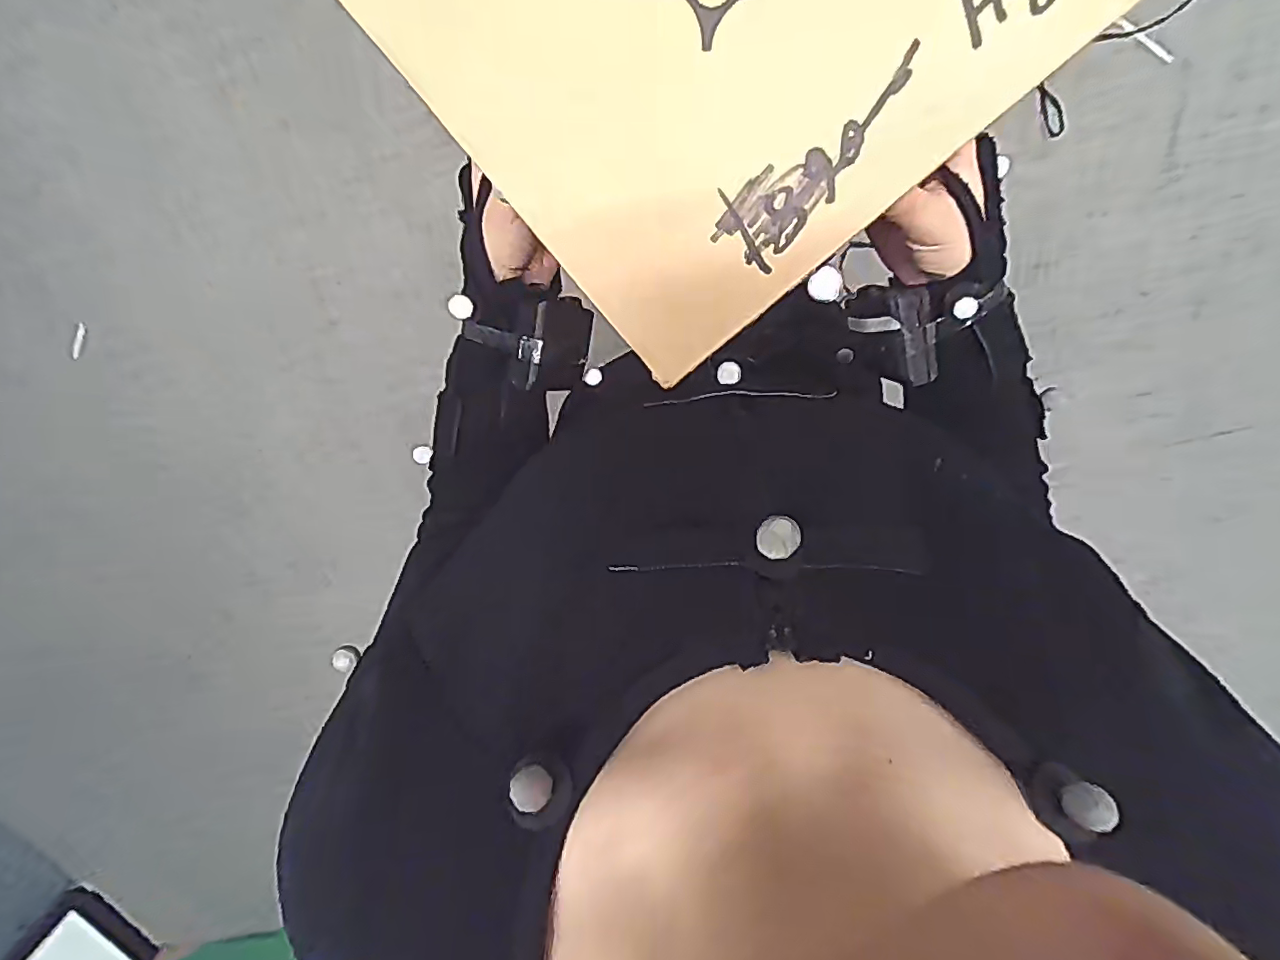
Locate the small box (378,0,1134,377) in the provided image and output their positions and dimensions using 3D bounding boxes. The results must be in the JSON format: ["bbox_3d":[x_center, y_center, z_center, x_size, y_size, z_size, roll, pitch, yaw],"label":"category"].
[{"bbox_3d":[0.031,-0.170,0.233,0.168,0.176,0.179,-38,102,17],"label":"small box"}]
